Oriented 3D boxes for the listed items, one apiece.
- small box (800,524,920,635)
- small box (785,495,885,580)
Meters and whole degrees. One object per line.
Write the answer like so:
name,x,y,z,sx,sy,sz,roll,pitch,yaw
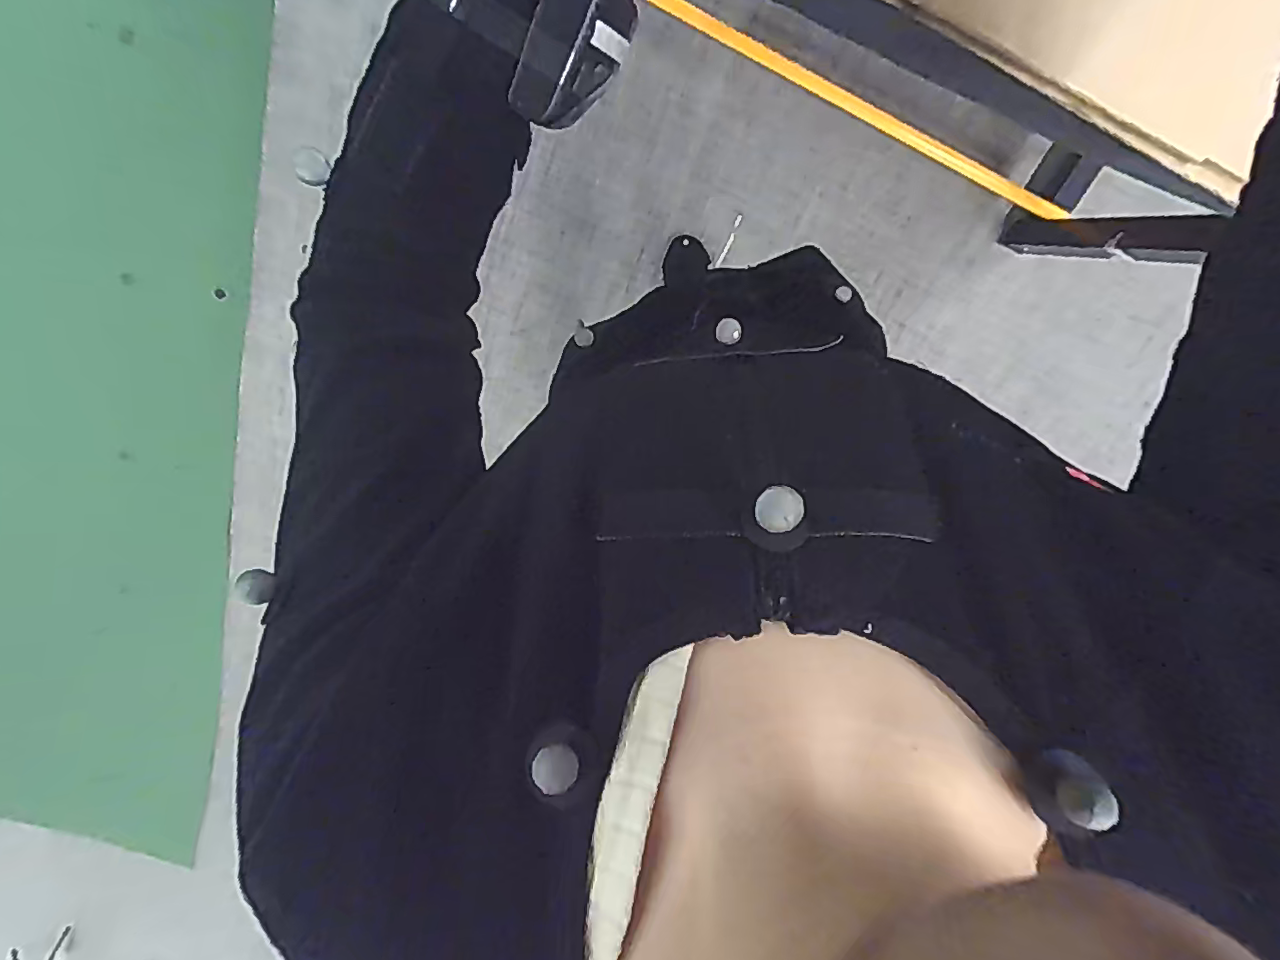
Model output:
small box,0.496,0.224,1.250,0.179,0.176,0.168,17,114,-5
small box,0.494,0.162,1.402,0.168,0.176,0.179,17,114,-5
